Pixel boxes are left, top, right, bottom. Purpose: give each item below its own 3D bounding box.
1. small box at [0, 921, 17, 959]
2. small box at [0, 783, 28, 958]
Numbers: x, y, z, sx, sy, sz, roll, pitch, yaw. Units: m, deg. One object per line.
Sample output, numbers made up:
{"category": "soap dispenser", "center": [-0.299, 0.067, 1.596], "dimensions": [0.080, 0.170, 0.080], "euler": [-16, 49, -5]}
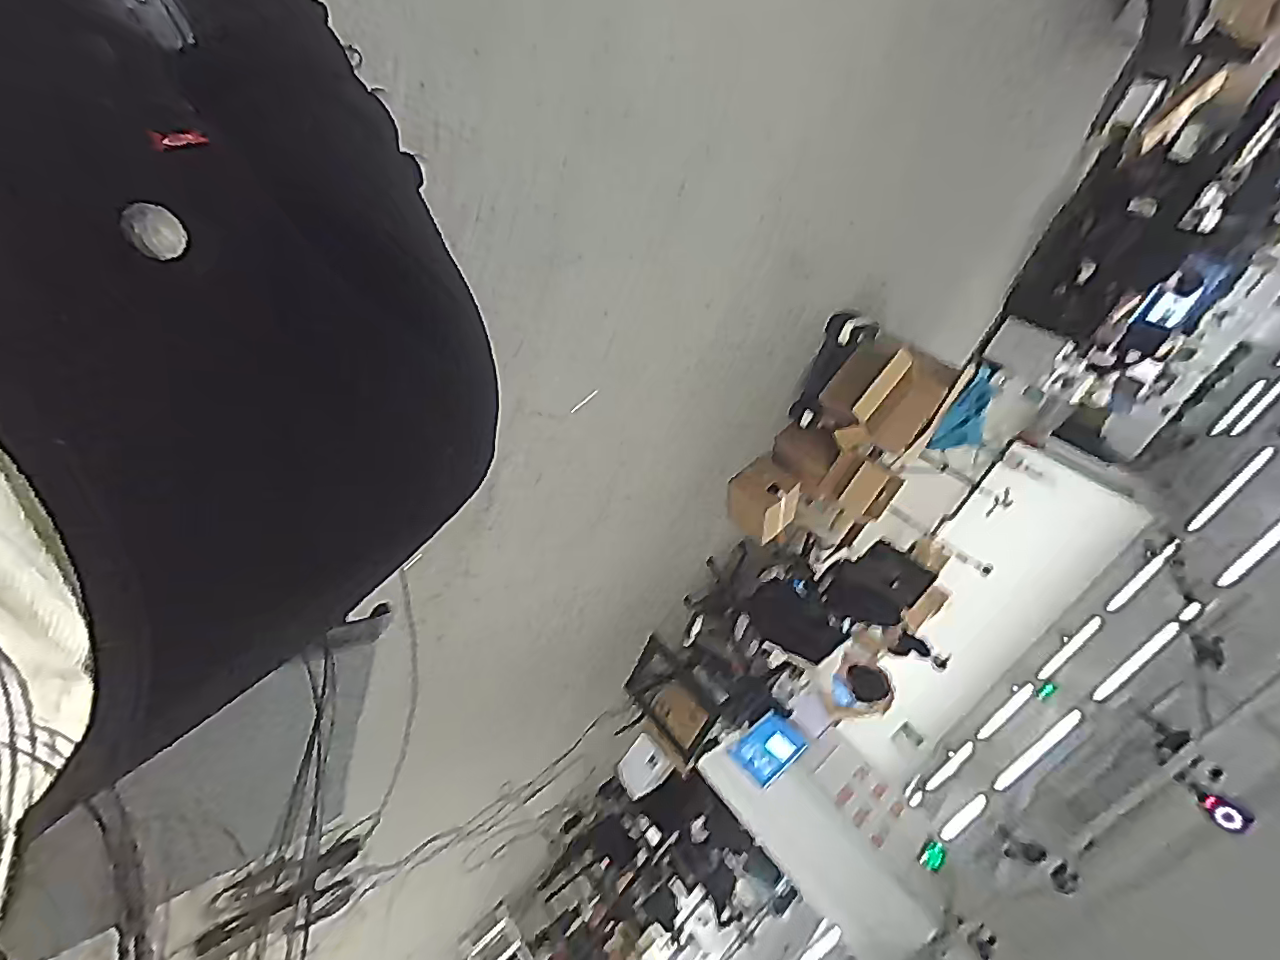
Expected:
{"category": "small box", "center": [-0.771, 0.618, 0.560], "dimensions": [0.168, 0.176, 0.179], "euler": [-10, 130, -47]}
{"category": "small box", "center": [-0.882, 0.513, 0.652], "dimensions": [0.179, 0.176, 0.168], "euler": [-6, 128, -47]}
